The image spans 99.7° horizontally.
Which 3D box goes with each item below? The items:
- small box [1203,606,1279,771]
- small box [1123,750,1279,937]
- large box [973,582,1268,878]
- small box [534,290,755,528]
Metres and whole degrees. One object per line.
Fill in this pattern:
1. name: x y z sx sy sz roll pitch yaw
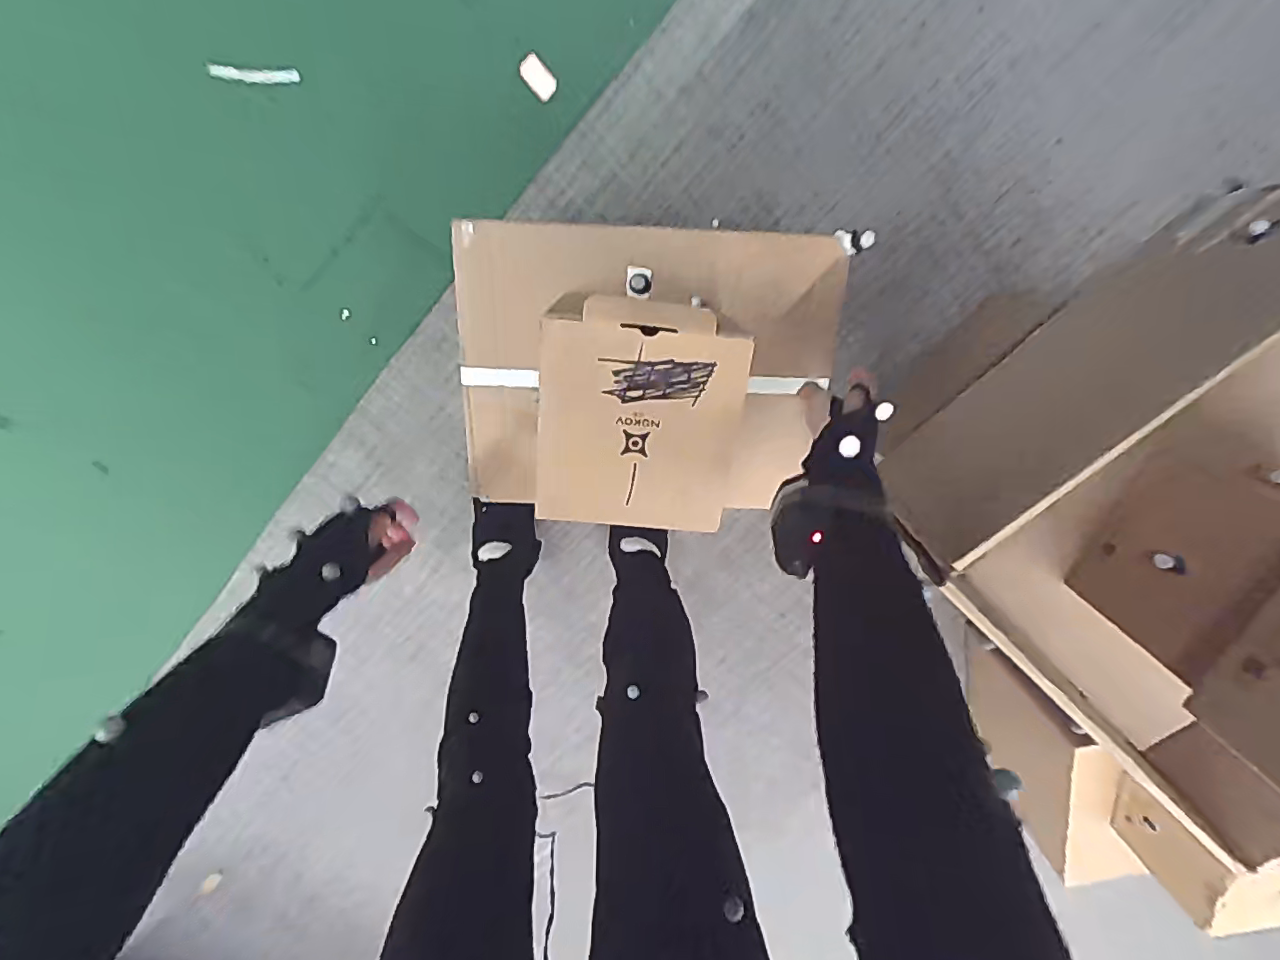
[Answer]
1. small box: 0.540 0.156 0.332 0.179 0.176 0.168 13 113 -6
2. small box: 0.896 0.537 0.814 0.179 0.176 0.168 -12 115 3
3. large box: 0.895 0.474 1.054 0.320 0.320 0.408 -16 116 6
4. small box: -0.004 -0.076 0.509 0.168 0.176 0.179 5 115 -3
